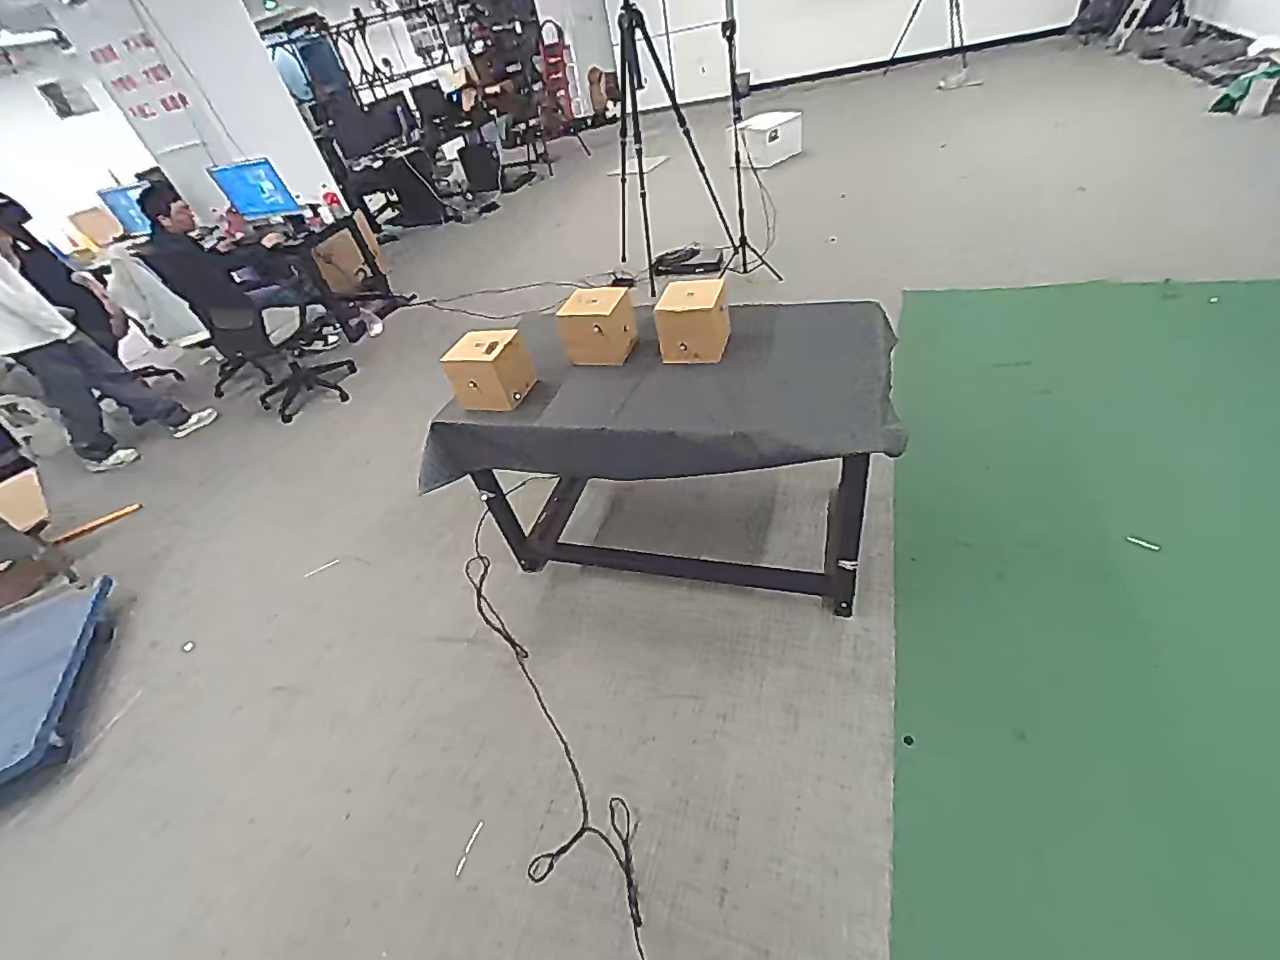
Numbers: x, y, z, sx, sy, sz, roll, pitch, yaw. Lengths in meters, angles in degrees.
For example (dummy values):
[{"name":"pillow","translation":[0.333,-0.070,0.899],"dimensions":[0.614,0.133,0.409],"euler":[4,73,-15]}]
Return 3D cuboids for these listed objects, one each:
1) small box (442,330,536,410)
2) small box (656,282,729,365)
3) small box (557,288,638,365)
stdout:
[{"name":"small box","translation":[-0.425,-0.315,1.557],"dimensions":[0.179,0.176,0.168],"euler":[4,44,20]},{"name":"small box","translation":[0.157,-0.446,1.541],"dimensions":[0.168,0.176,0.179],"euler":[4,46,20]},{"name":"small box","translation":[-0.119,-0.459,1.627],"dimensions":[0.179,0.176,0.168],"euler":[6,46,21]}]
